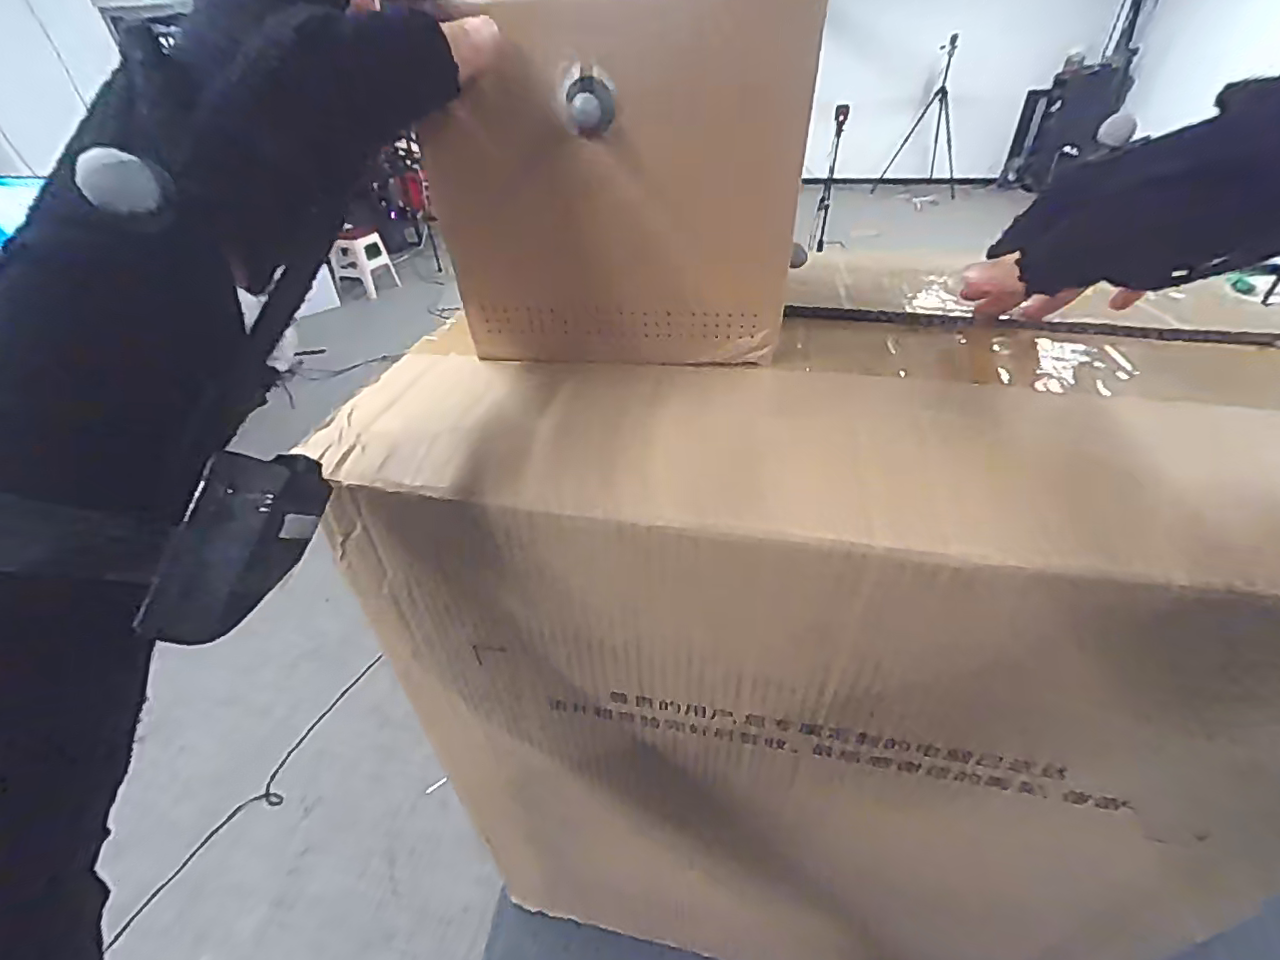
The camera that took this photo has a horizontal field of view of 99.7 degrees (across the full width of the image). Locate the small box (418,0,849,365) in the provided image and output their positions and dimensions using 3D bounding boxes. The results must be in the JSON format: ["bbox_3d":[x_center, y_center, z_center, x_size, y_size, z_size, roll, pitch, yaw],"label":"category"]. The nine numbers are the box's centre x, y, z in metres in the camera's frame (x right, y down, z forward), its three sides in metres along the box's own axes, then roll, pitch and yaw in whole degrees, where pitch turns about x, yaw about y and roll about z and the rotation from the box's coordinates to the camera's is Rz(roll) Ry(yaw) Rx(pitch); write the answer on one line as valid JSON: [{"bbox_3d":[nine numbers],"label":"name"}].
[{"bbox_3d":[0.006,-0.182,0.320,0.179,0.176,0.168,4,45,6],"label":"small box"}]
